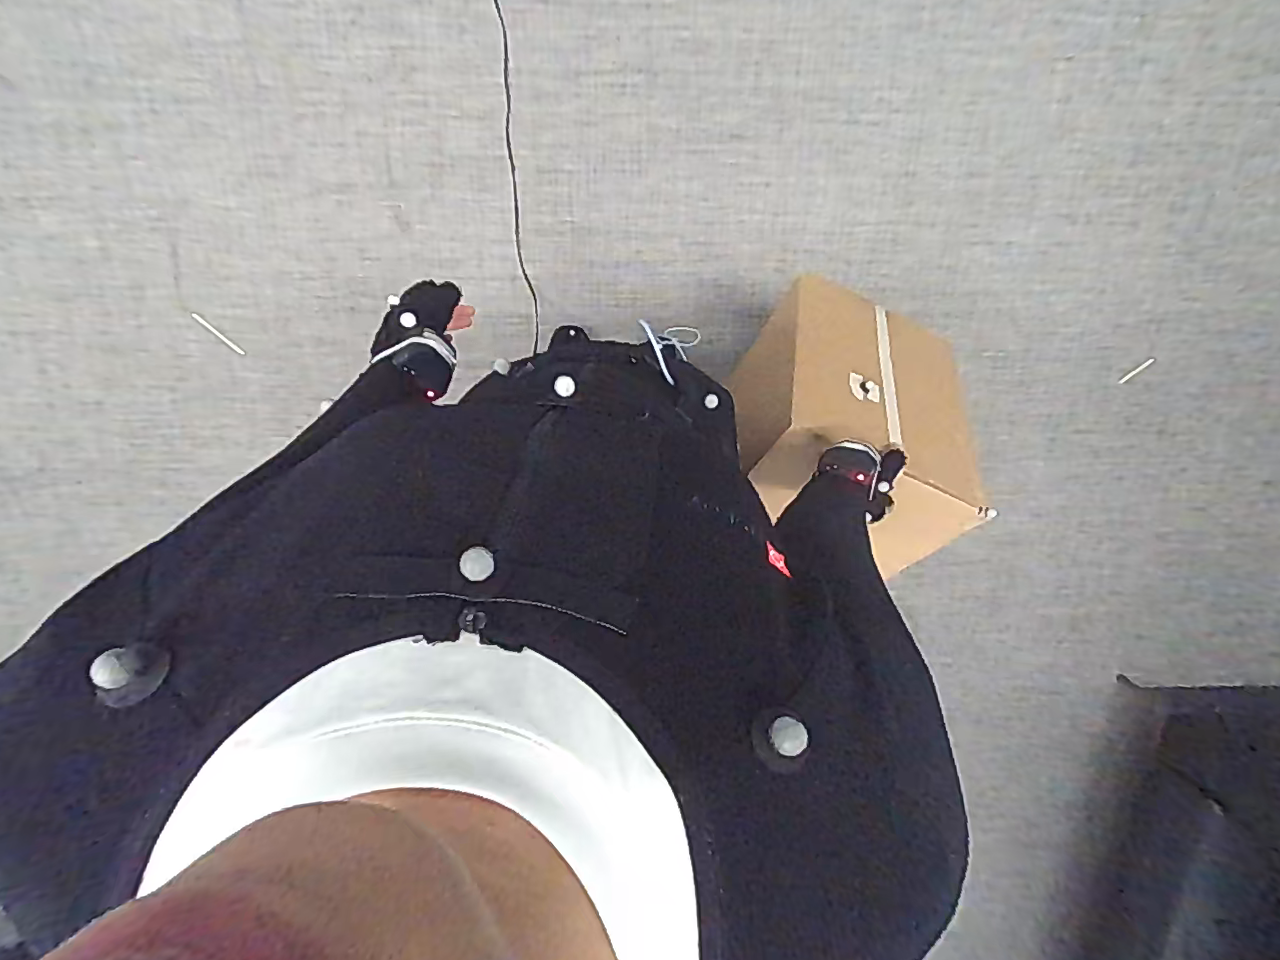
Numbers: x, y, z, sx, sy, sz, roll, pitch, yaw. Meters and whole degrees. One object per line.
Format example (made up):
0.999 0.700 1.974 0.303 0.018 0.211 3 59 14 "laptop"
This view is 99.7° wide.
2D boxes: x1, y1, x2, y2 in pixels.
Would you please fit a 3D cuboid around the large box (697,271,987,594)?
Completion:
0.323 -0.077 0.948 0.320 0.408 0.320 22 141 -8 "large box"
